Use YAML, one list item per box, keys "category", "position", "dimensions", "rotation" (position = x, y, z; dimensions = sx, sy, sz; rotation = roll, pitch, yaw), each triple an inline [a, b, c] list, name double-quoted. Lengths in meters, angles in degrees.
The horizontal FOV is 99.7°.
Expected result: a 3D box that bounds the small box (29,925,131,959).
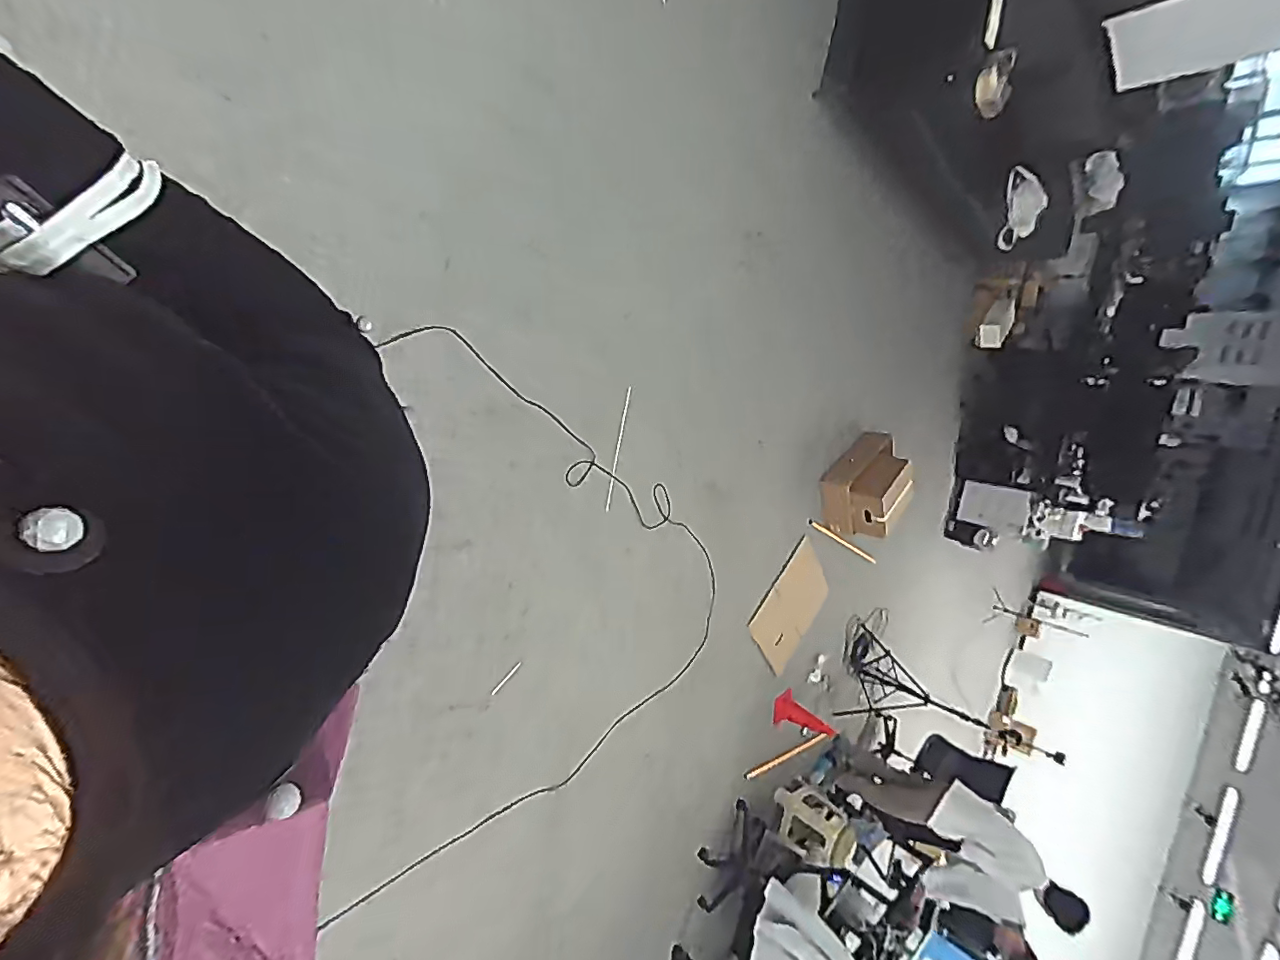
- category: "small box"
  position: [-0.644, 0.627, 0.552]
  dimensions: [0.179, 0.176, 0.168]
  rotation: [2, 100, -45]
